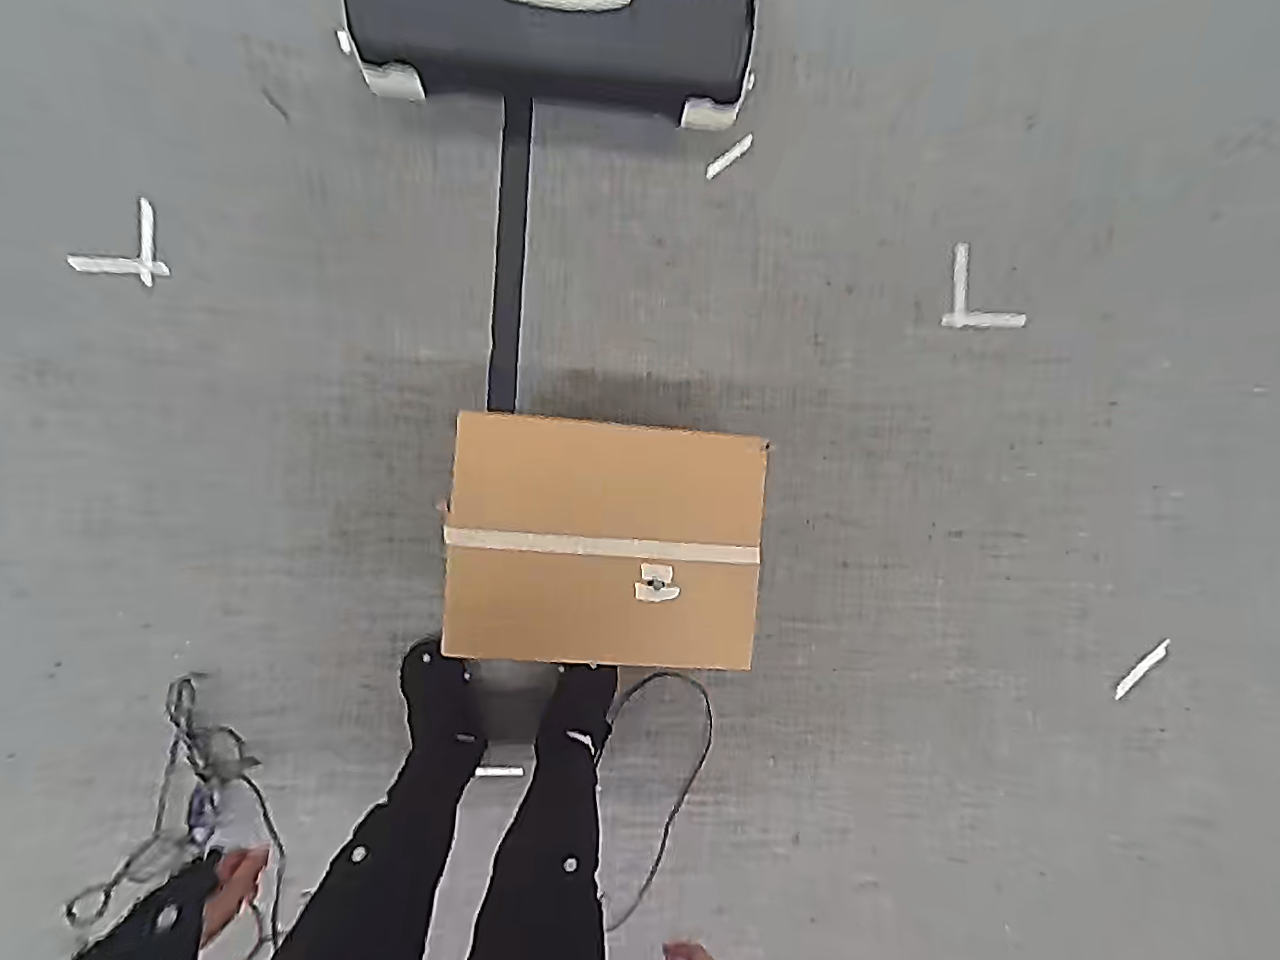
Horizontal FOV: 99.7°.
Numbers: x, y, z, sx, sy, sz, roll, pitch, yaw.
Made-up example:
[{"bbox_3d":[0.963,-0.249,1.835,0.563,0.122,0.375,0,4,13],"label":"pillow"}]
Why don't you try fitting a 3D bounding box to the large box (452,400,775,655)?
[{"bbox_3d":[-0.046,0.064,0.837,0.408,0.320,0.320,5,92,-6],"label":"large box"}]
